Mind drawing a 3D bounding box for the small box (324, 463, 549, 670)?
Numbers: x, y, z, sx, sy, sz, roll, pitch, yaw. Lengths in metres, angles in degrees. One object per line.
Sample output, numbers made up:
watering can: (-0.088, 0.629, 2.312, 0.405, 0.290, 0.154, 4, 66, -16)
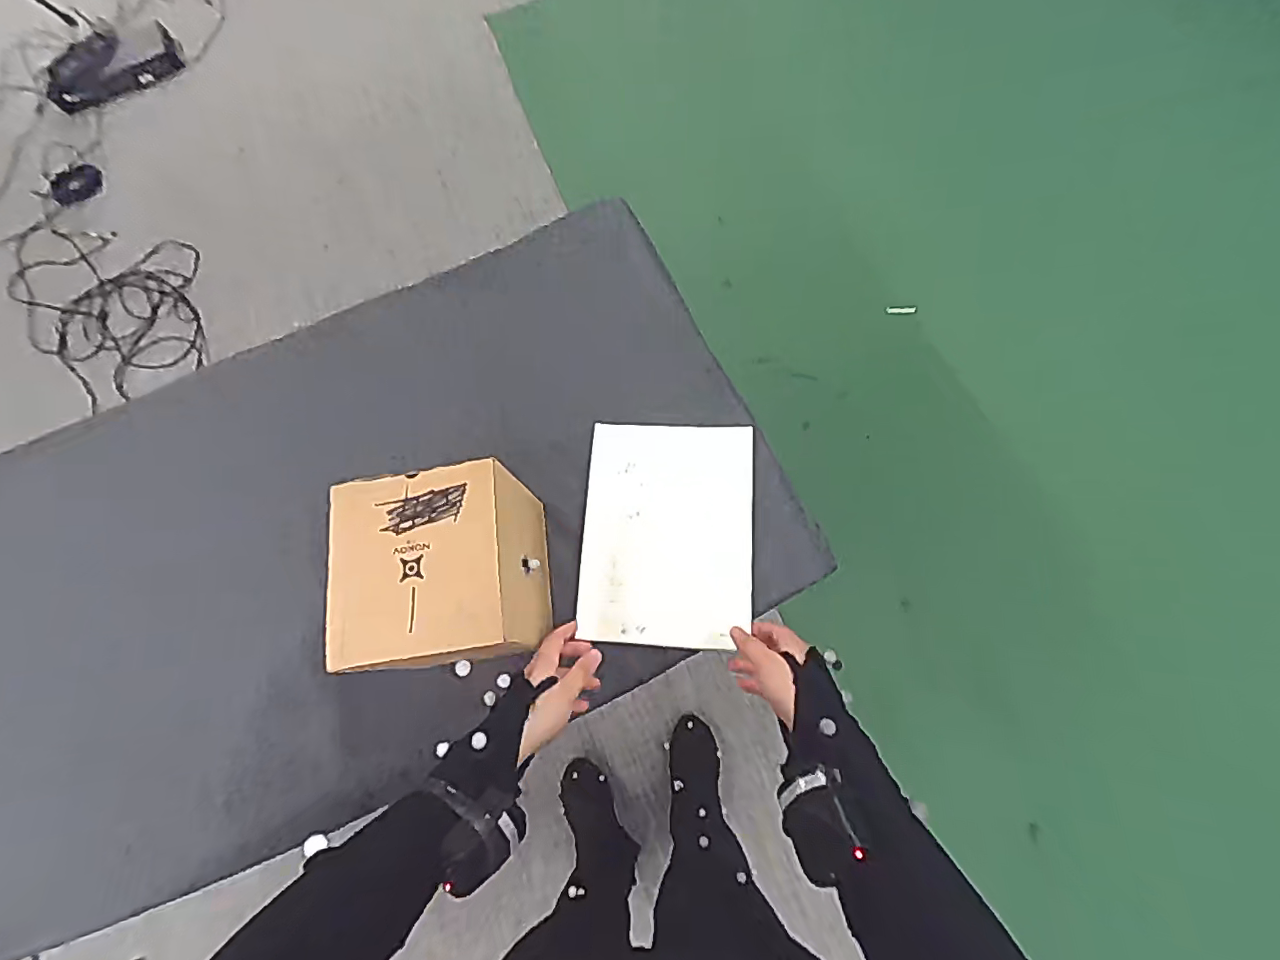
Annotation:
small box: (-0.202, 0.101, 0.578, 0.168, 0.176, 0.179, -10, 72, 4)
